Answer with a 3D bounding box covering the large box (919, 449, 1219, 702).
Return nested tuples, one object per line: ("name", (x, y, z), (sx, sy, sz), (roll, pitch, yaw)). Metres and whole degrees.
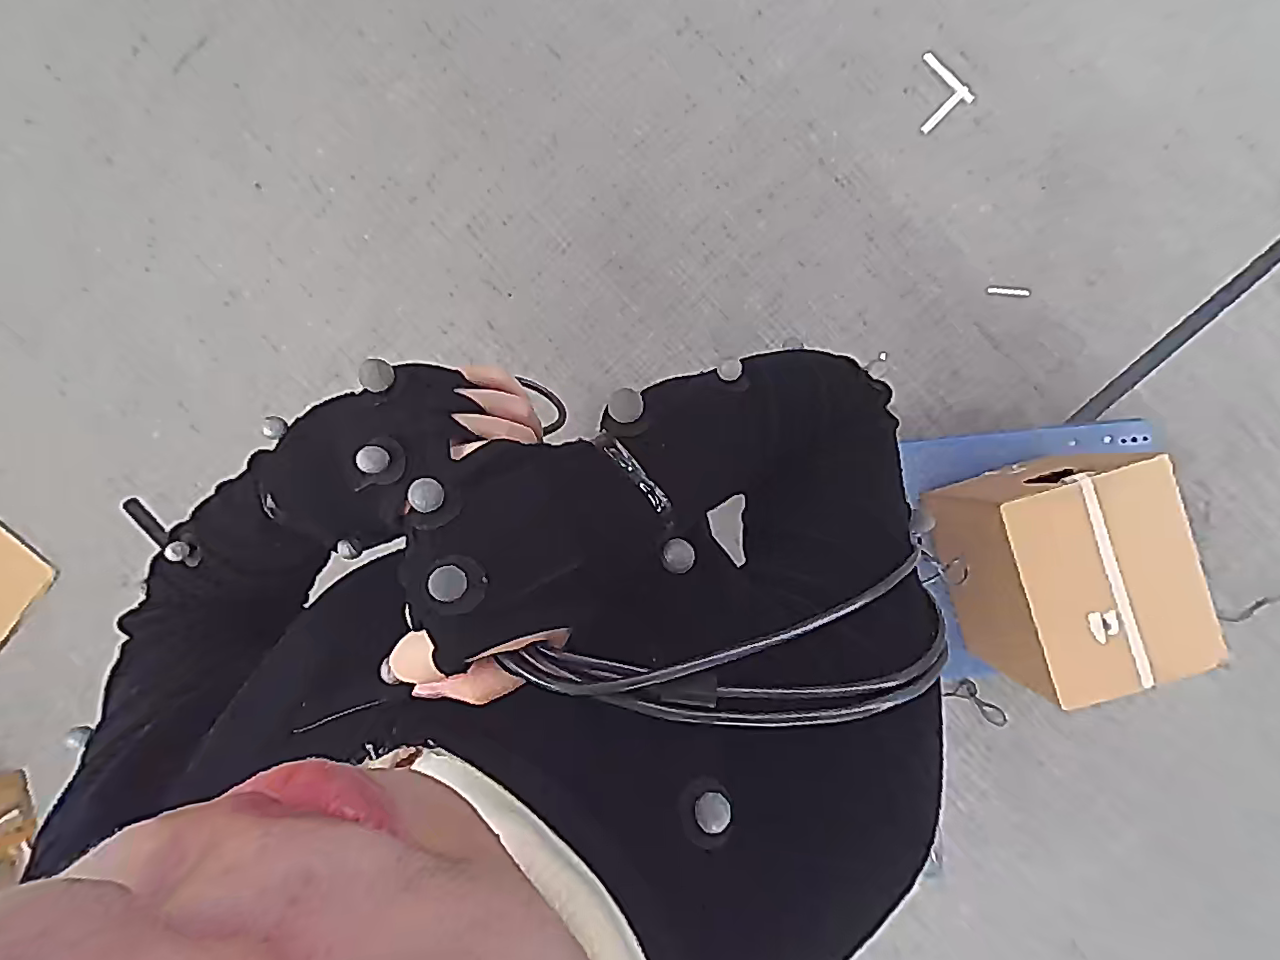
("large box", (0.856, 0.171, 1.134), (0.320, 0.320, 0.408), (-18, 92, 3))
